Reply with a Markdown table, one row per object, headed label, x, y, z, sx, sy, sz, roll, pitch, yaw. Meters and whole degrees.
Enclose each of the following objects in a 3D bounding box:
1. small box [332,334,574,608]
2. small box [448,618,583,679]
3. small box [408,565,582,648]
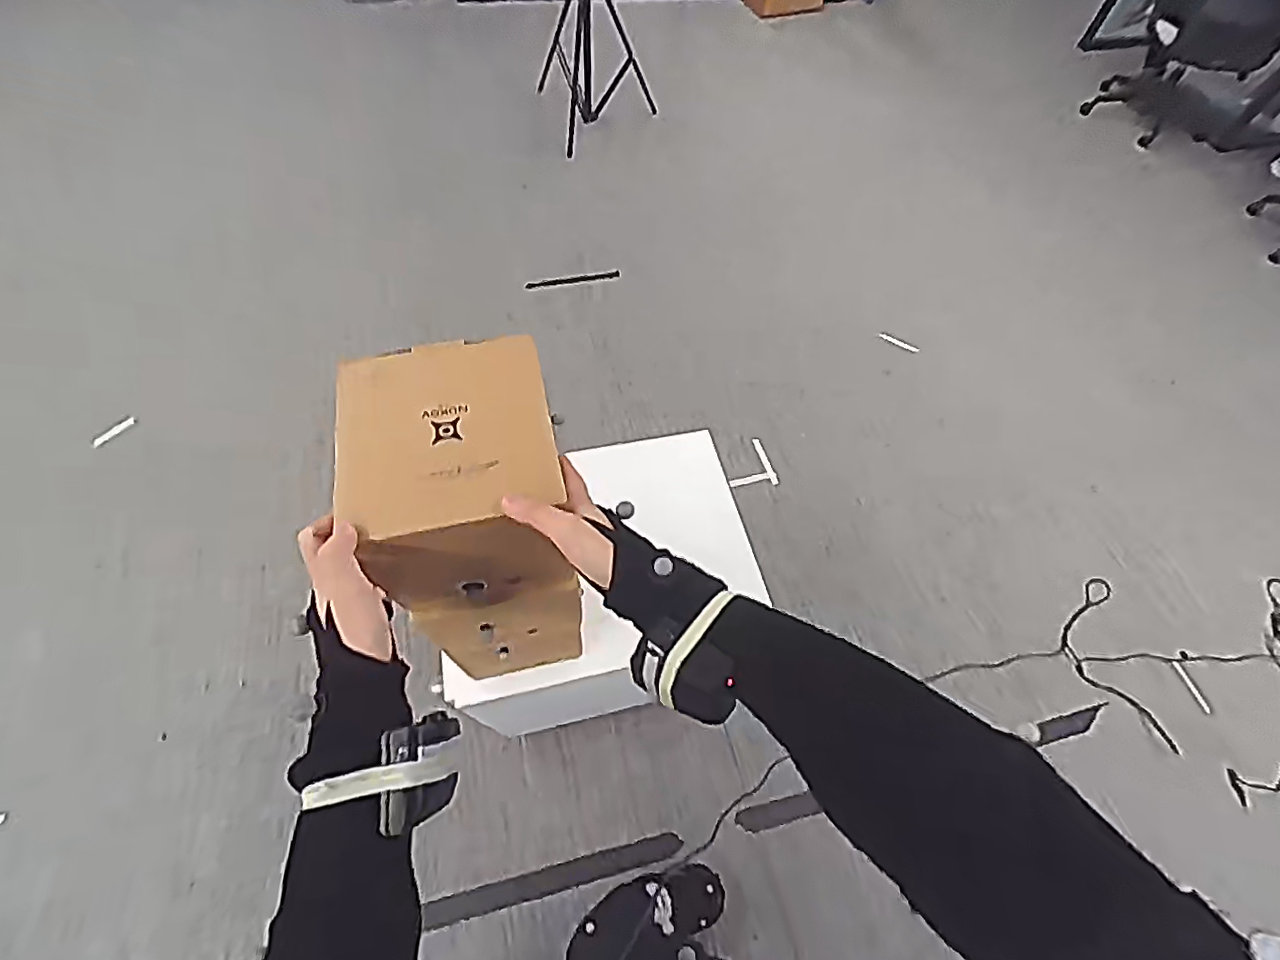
| label | x | y | z | sx | sy | sz | roll | pitch | yaw |
| --- | --- | --- | --- | --- | --- | --- | --- | --- | --- |
| small box | -0.156 | -0.003 | 0.491 | 0.168 | 0.176 | 0.179 | -10 | 63 | -10 |
| small box | -0.176 | 0.164 | 0.772 | 0.168 | 0.176 | 0.179 | -10 | 61 | -10 |
| small box | -0.164 | 0.085 | 0.629 | 0.168 | 0.176 | 0.179 | -11 | 62 | -11 |
